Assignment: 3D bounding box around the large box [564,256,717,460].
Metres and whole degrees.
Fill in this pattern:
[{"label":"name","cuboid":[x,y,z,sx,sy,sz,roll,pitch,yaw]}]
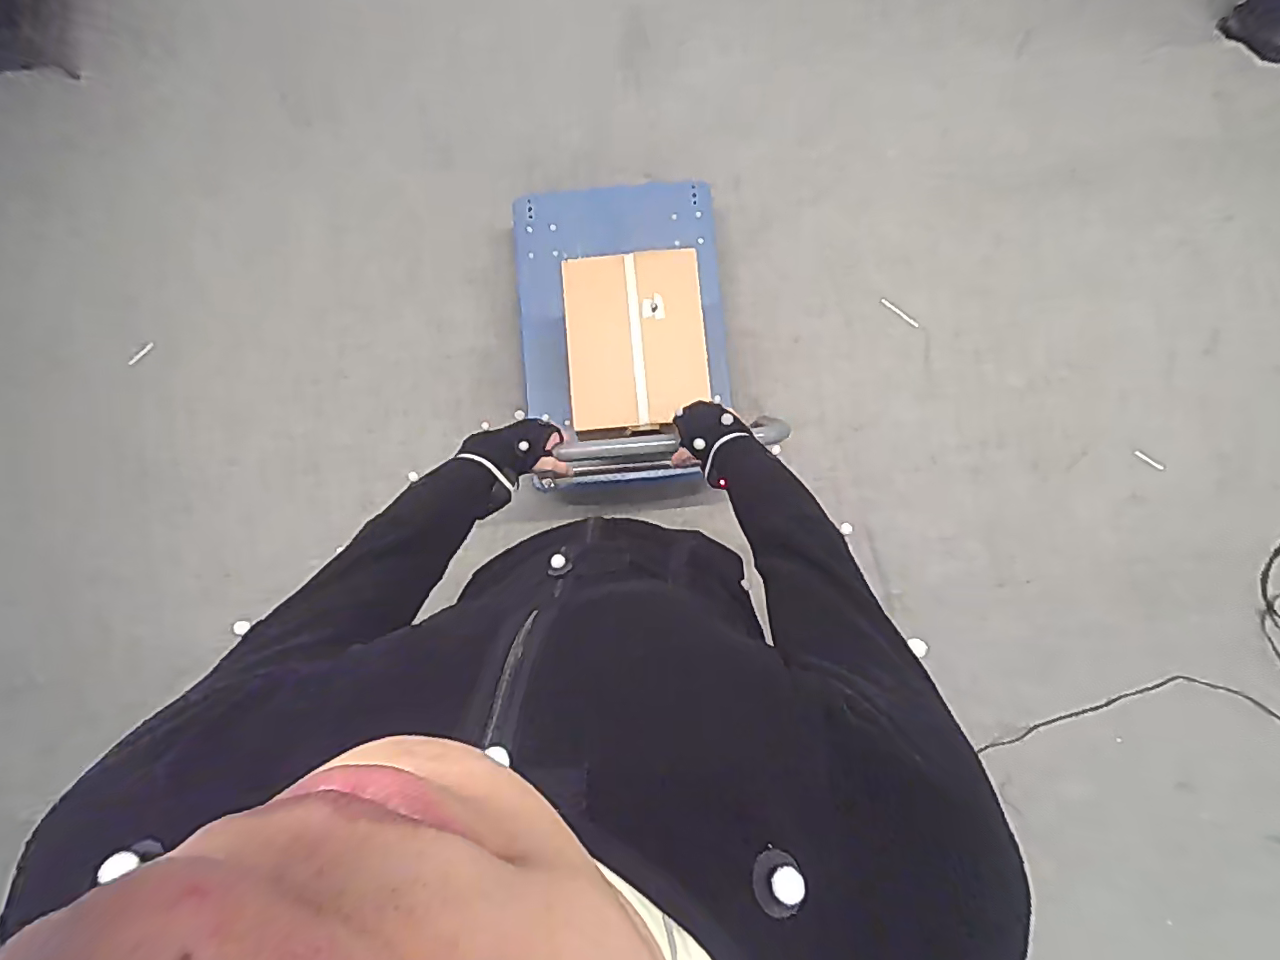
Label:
[{"label":"large box","cuboid":[0.001,-0.282,1.354,0.320,0.320,0.408,-5,83,-1]}]
